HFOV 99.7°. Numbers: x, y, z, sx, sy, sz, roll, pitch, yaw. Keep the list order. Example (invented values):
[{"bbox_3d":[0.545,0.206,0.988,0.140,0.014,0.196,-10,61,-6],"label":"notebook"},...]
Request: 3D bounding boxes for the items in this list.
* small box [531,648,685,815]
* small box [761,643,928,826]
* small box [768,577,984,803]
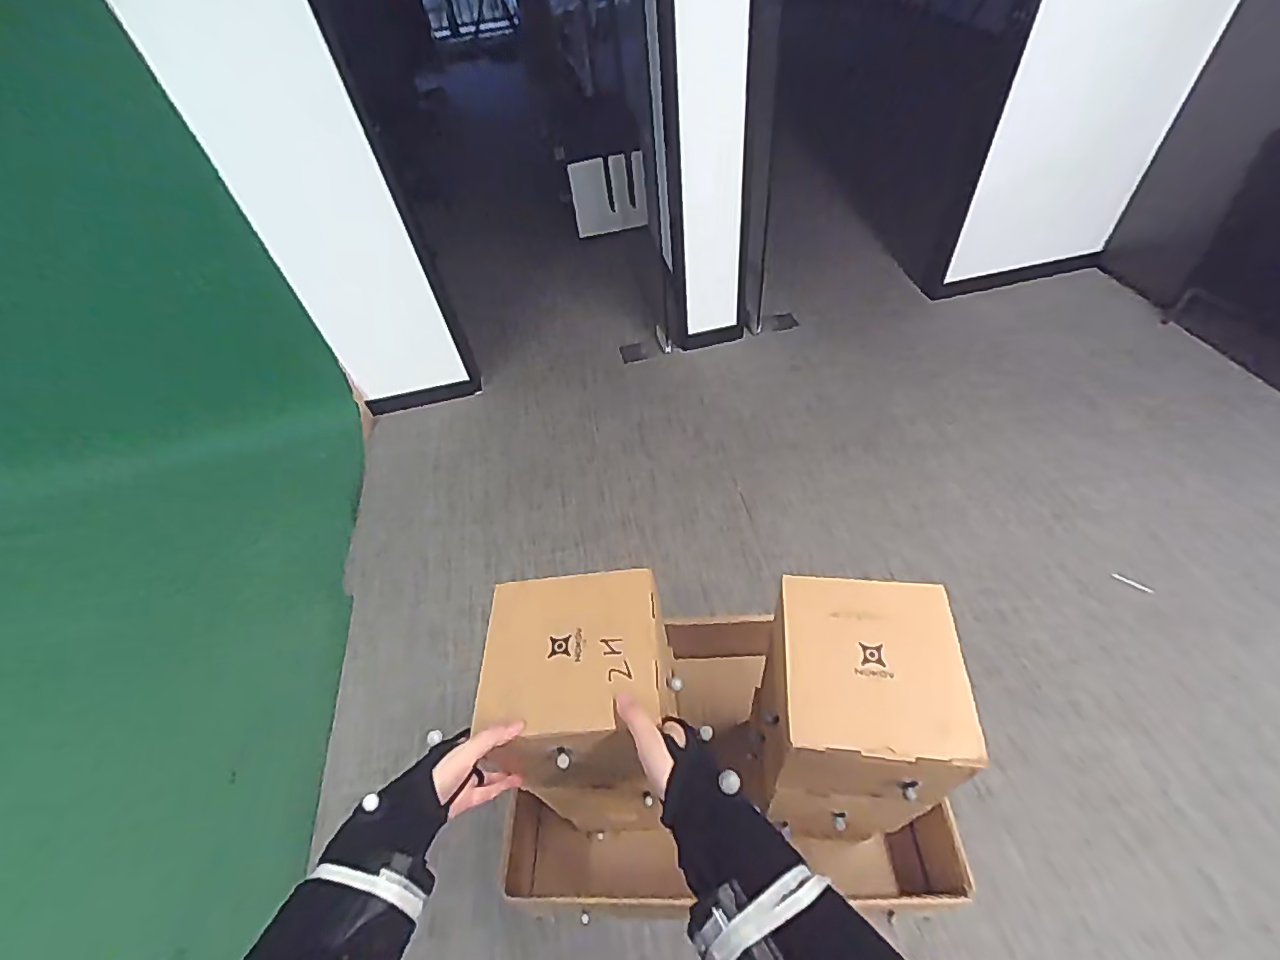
[{"bbox_3d":[-0.034,0.344,0.732,0.179,0.176,0.168,-4,49,3],"label":"small box"},{"bbox_3d":[0.247,0.331,0.699,0.168,0.176,0.179,1,50,9],"label":"small box"},{"bbox_3d":[0.228,0.225,0.575,0.168,0.176,0.179,2,49,9],"label":"small box"}]
